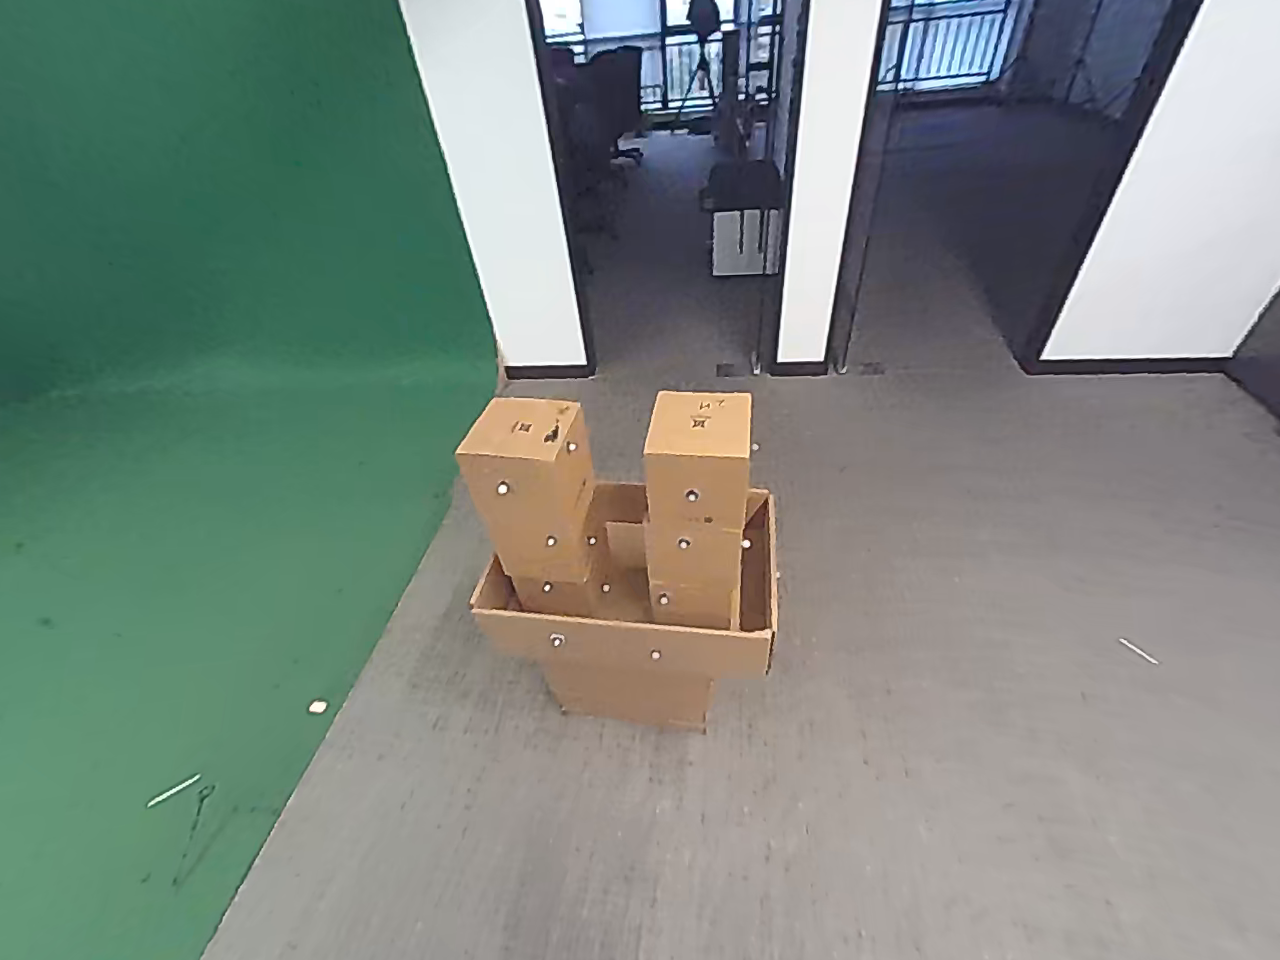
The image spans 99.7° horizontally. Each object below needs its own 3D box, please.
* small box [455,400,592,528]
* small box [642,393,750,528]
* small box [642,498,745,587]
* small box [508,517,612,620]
[{"bbox_3d":[-0.201,-0.029,0.988,0.179,0.176,0.168,4,44,12],"label":"small box"},{"bbox_3d":[0.103,-0.034,0.948,0.168,0.176,0.179,4,43,10],"label":"small box"},{"bbox_3d":[0.109,0.091,1.056,0.179,0.176,0.168,5,43,12],"label":"small box"},{"bbox_3d":[-0.172,0.198,1.222,0.179,0.176,0.168,4,44,10],"label":"small box"}]
